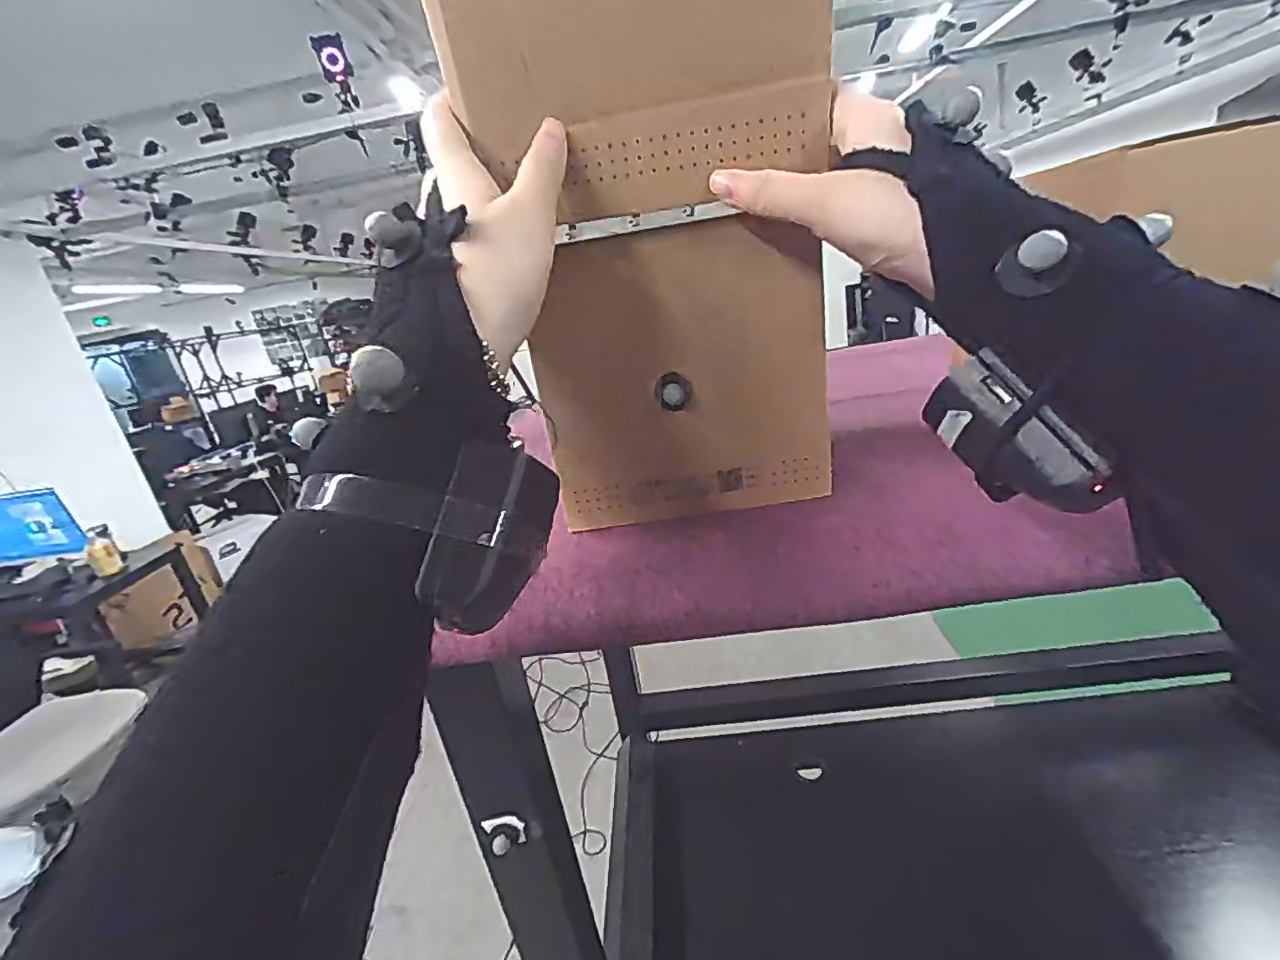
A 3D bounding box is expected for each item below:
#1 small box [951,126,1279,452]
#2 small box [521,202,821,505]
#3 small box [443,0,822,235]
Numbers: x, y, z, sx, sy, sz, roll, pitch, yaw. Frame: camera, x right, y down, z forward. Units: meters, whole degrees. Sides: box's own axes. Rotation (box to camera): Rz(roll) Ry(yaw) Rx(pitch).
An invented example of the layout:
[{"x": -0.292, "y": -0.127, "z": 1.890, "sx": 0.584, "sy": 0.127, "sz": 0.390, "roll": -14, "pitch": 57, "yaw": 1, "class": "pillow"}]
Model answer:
[{"x": 0.345, "y": -0.129, "z": 0.380, "sx": 0.179, "sy": 0.176, "sz": 0.168, "roll": -9, "pitch": 18, "yaw": 4, "class": "small box"}, {"x": 0.027, "y": -0.086, "z": 0.395, "sx": 0.168, "sy": 0.176, "sz": 0.179, "roll": -7, "pitch": 19, "yaw": 3, "class": "small box"}, {"x": -0.005, "y": -0.242, "z": 0.303, "sx": 0.179, "sy": 0.176, "sz": 0.168, "roll": -7, "pitch": 30, "yaw": 1, "class": "small box"}]
